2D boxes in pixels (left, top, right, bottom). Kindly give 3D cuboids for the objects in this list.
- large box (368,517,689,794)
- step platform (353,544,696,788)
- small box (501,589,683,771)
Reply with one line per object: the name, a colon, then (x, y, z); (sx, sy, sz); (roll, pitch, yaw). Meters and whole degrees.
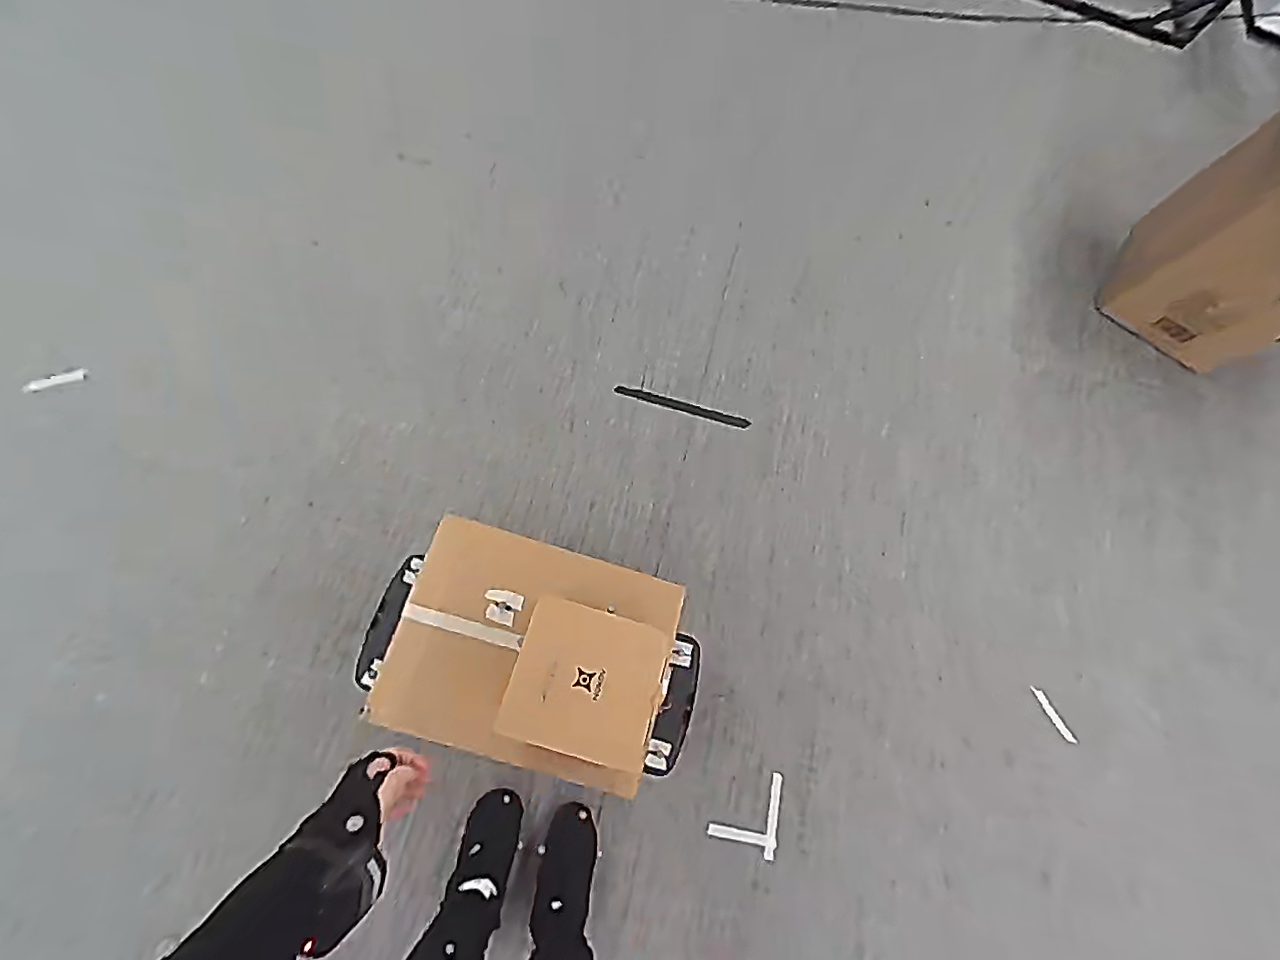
large box: (-0.164, 0.296, 0.941); (0.408, 0.320, 0.320); (17, 69, -1)
step platform: (-0.228, 0.387, 1.155); (0.684, 0.204, 0.286); (22, 70, 1)
small box: (-0.061, 0.253, 0.708); (0.179, 0.176, 0.168); (18, 71, -1)
